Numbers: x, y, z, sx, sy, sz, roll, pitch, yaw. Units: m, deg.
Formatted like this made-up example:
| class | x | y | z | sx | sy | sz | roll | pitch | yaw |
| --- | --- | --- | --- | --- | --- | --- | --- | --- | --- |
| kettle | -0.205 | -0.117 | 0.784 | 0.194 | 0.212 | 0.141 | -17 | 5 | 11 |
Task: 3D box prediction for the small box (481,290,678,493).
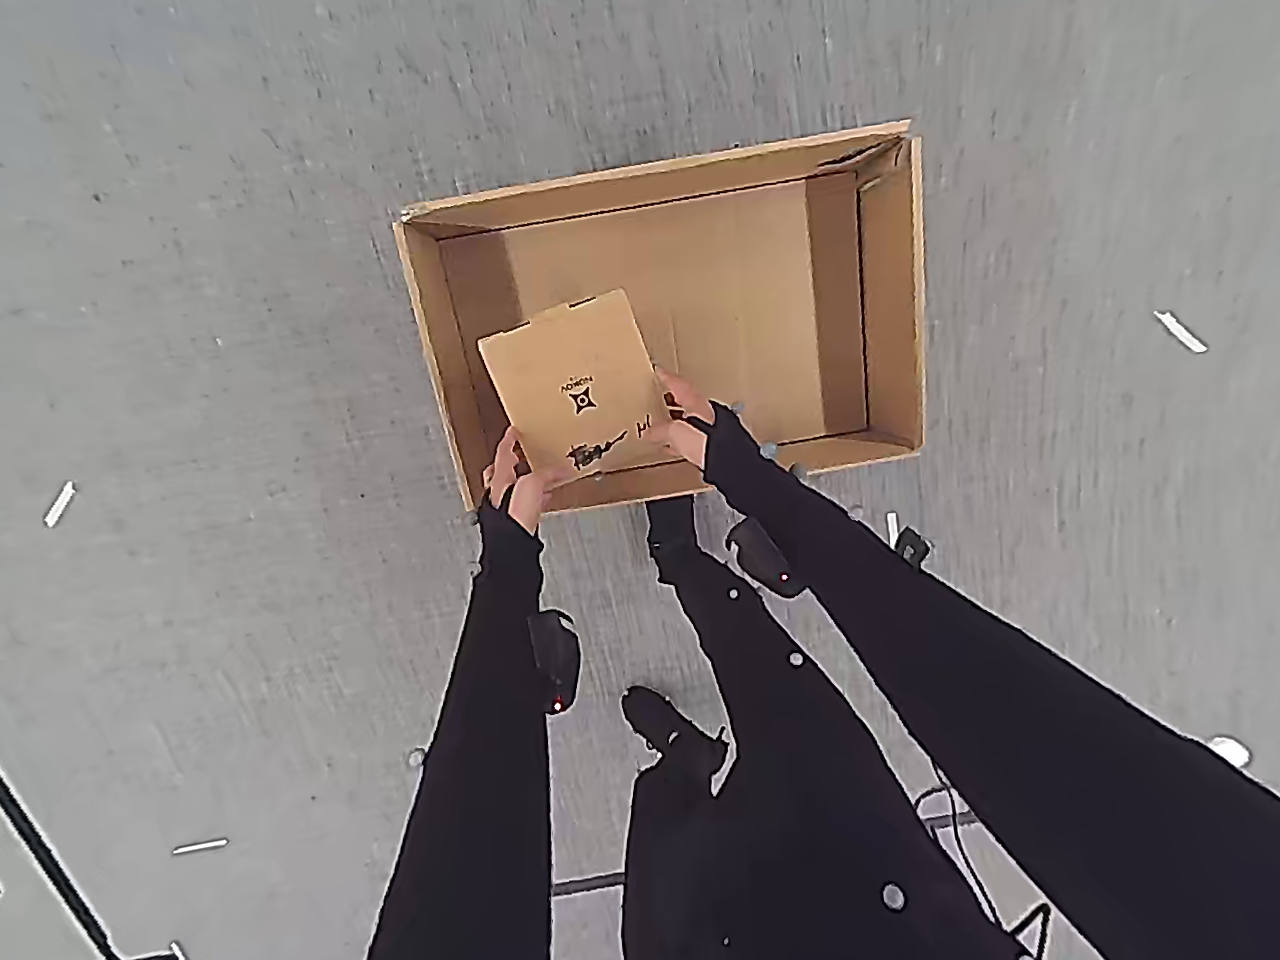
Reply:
| class | x | y | z | sx | sy | sz | roll | pitch | yaw |
| --- | --- | --- | --- | --- | --- | --- | --- | --- | --- |
| small box | -0.068 | -0.105 | 0.652 | 0.168 | 0.176 | 0.179 | -21 | 102 | 1 |
